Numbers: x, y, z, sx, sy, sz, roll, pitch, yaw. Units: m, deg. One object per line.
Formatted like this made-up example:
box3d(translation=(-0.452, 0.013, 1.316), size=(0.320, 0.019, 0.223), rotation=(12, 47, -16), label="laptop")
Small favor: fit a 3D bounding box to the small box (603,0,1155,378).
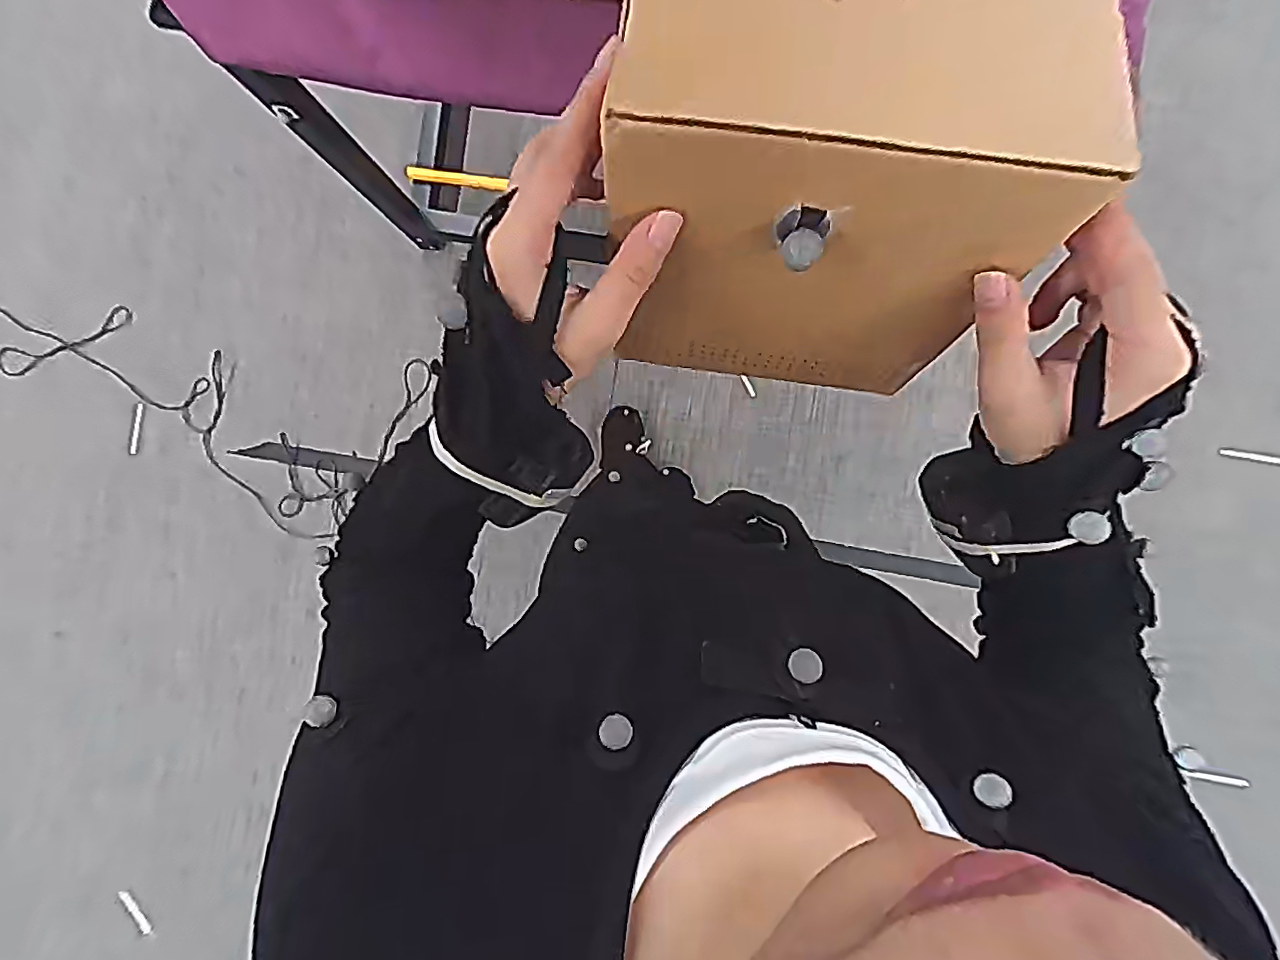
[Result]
box3d(translation=(0.085, -0.164, 0.266), size=(0.179, 0.176, 0.168), rotation=(8, 75, 2), label="small box")
